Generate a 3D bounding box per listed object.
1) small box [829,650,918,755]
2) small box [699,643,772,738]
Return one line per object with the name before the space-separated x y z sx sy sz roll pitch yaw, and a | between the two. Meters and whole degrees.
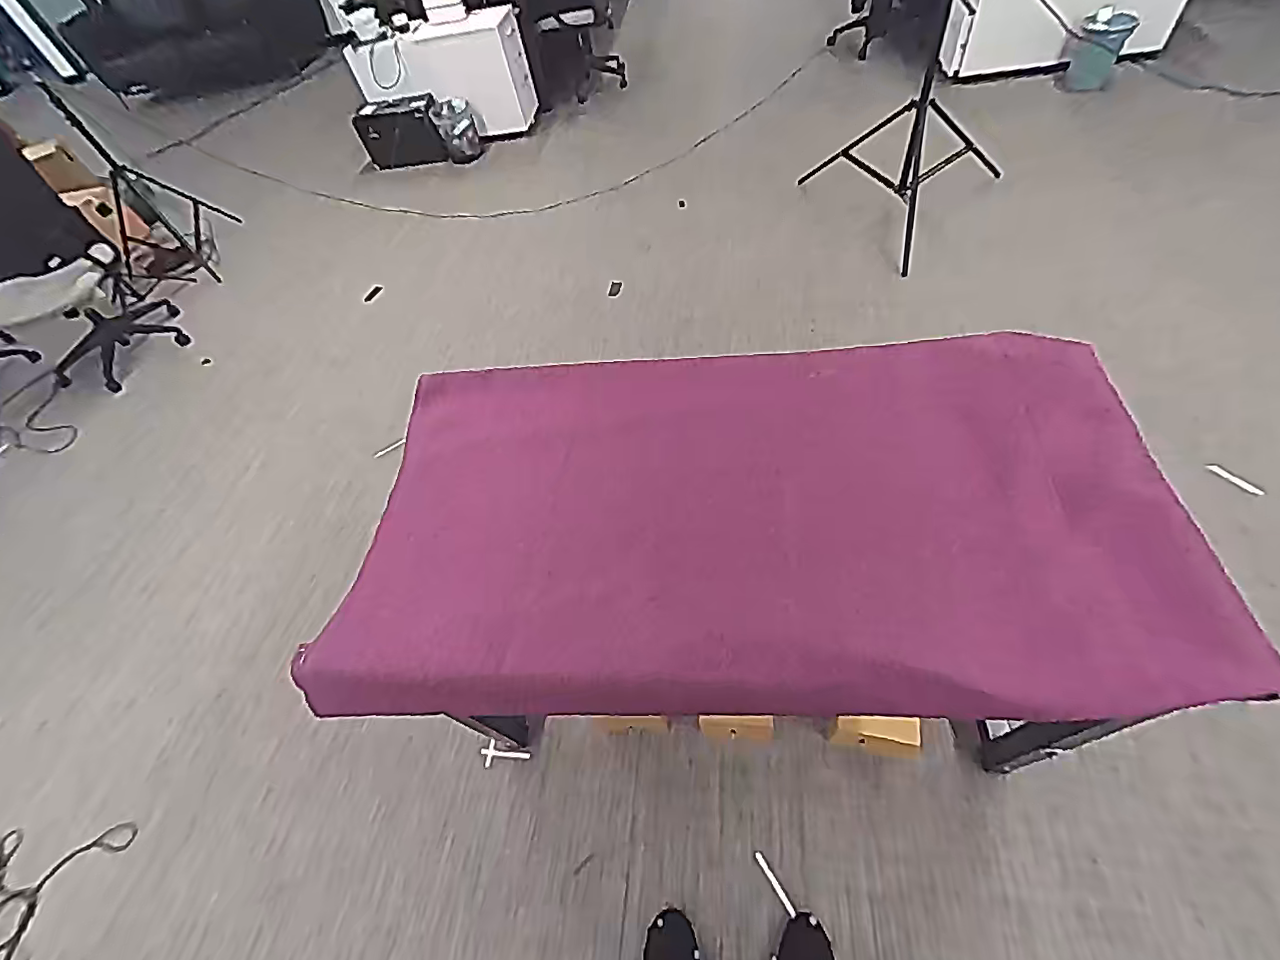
small box | 0.539 0.521 1.258 0.168 0.176 0.179 6 55 15
small box | 0.236 0.516 1.316 0.168 0.176 0.179 1 54 11
